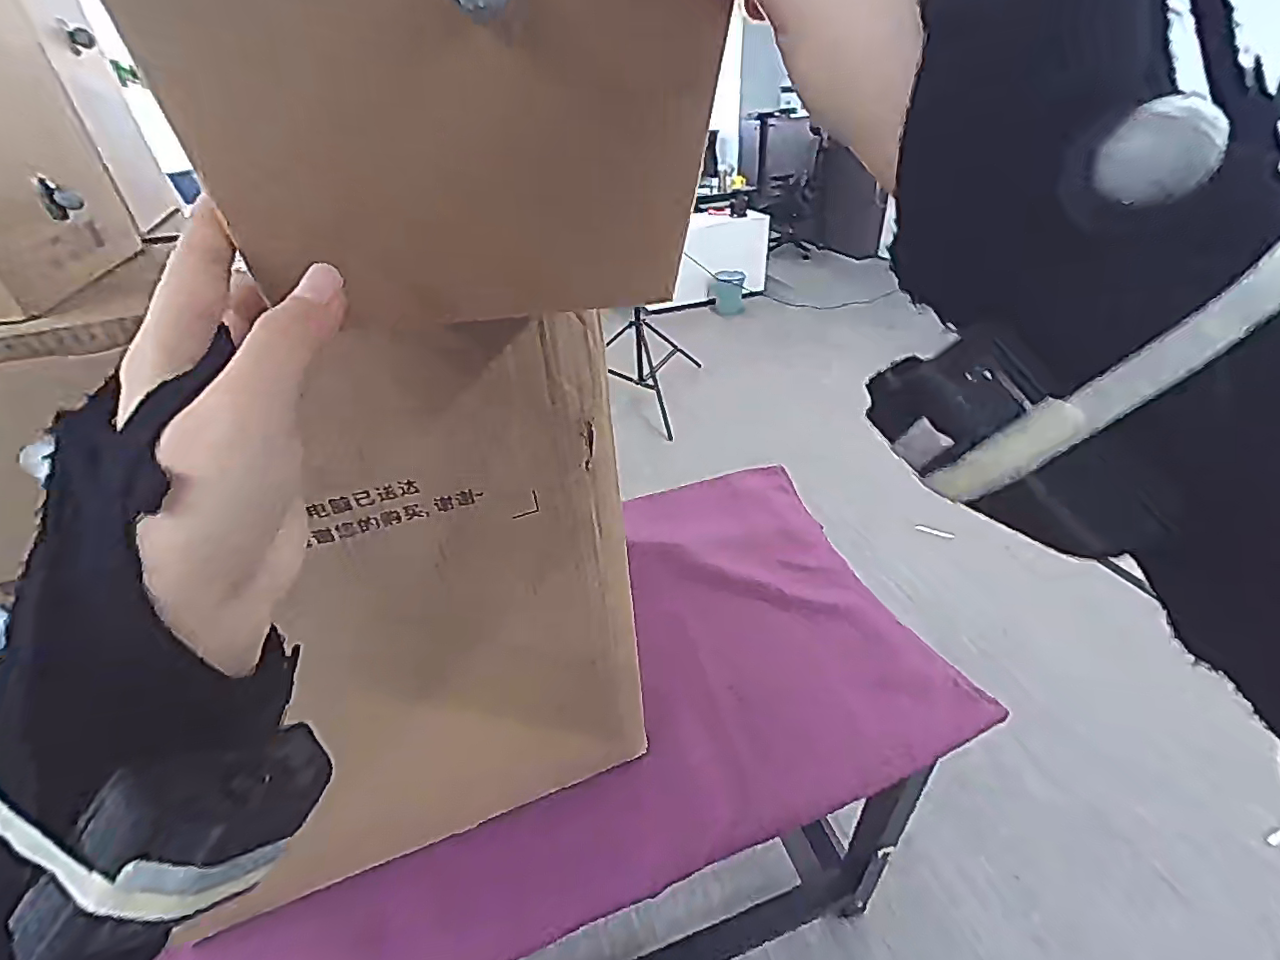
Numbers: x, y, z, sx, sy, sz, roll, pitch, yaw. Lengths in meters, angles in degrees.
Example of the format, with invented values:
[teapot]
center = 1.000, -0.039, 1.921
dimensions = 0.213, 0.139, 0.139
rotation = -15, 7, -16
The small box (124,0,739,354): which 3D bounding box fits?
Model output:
[small box]
center = -0.069, -0.177, 0.209
dimensions = 0.168, 0.176, 0.179
rotation = -10, 58, -14
